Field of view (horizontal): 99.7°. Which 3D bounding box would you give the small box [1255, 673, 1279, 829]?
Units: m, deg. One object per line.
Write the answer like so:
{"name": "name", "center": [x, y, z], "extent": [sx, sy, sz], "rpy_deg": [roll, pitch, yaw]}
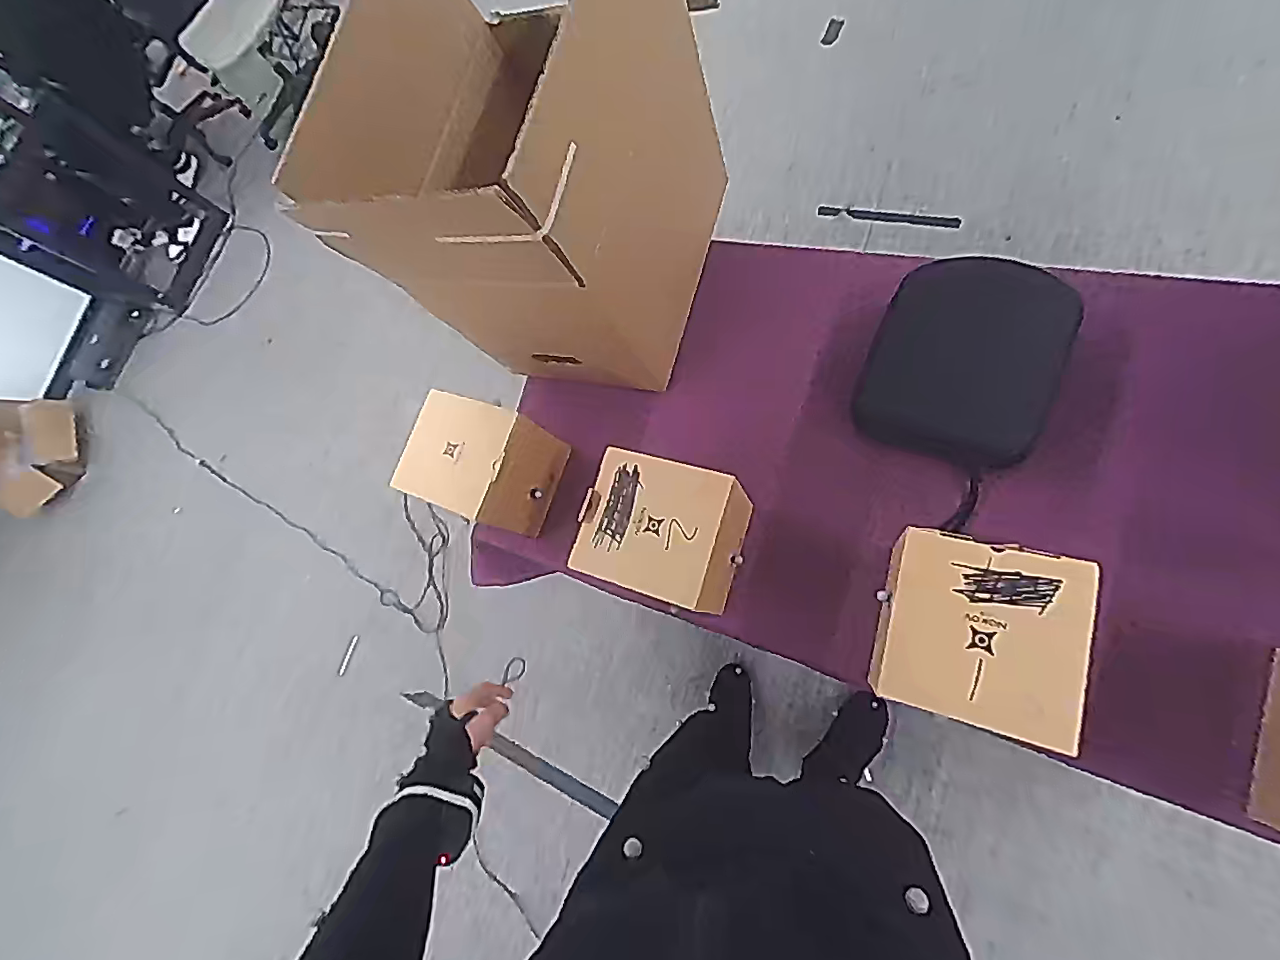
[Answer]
{"name": "small box", "center": [0.673, 0.252, 0.441], "extent": [0.168, 0.176, 0.179], "rpy_deg": [17, 81, 25]}

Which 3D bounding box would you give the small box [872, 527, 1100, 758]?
{"name": "small box", "center": [0.356, 0.165, 0.587], "extent": [0.168, 0.176, 0.179], "rpy_deg": [12, 80, 23]}

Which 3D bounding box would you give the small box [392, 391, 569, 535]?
{"name": "small box", "center": [-0.245, -0.021, 0.863], "extent": [0.179, 0.176, 0.168], "rpy_deg": [17, 82, 23]}
